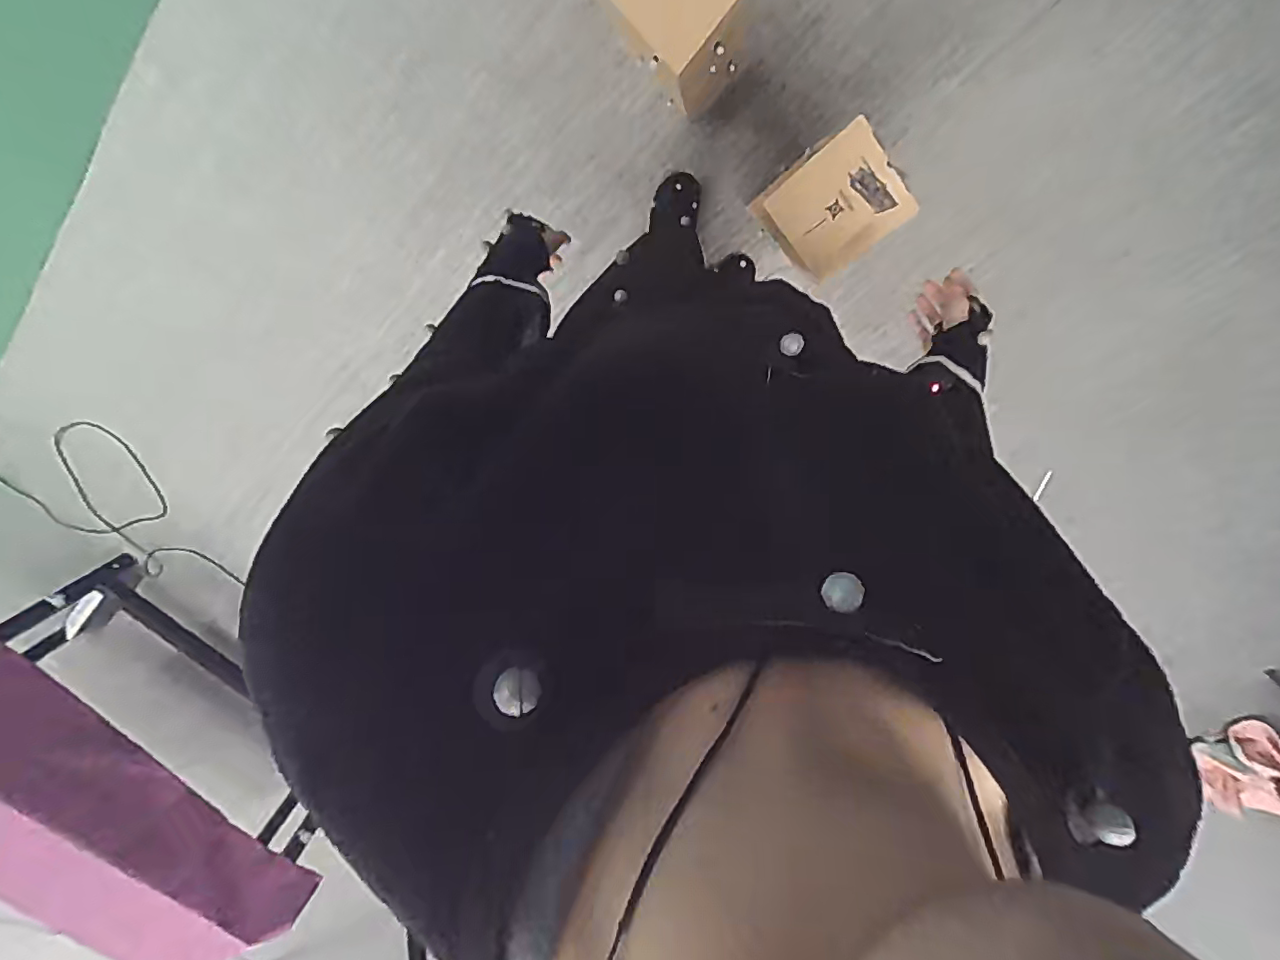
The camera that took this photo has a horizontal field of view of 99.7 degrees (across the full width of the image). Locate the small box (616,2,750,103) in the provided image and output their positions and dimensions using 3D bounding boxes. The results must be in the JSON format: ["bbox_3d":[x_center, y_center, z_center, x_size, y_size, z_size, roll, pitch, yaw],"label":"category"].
[{"bbox_3d":[0.069,-0.801,0.940,0.179,0.176,0.168,41,113,-12],"label":"small box"}]

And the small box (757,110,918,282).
[{"bbox_3d":[0.310,-0.457,0.889,0.179,0.176,0.168,-37,105,21],"label":"small box"}]

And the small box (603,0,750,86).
[{"bbox_3d":[0.053,-0.723,0.794,0.179,0.176,0.168,43,112,-12],"label":"small box"}]

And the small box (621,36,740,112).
[{"bbox_3d":[0.088,-0.877,1.083,0.179,0.176,0.168,42,113,-11],"label":"small box"}]

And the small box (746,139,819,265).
[{"bbox_3d":[0.348,-0.599,1.183,0.179,0.176,0.168,-37,106,21],"label":"small box"}]
